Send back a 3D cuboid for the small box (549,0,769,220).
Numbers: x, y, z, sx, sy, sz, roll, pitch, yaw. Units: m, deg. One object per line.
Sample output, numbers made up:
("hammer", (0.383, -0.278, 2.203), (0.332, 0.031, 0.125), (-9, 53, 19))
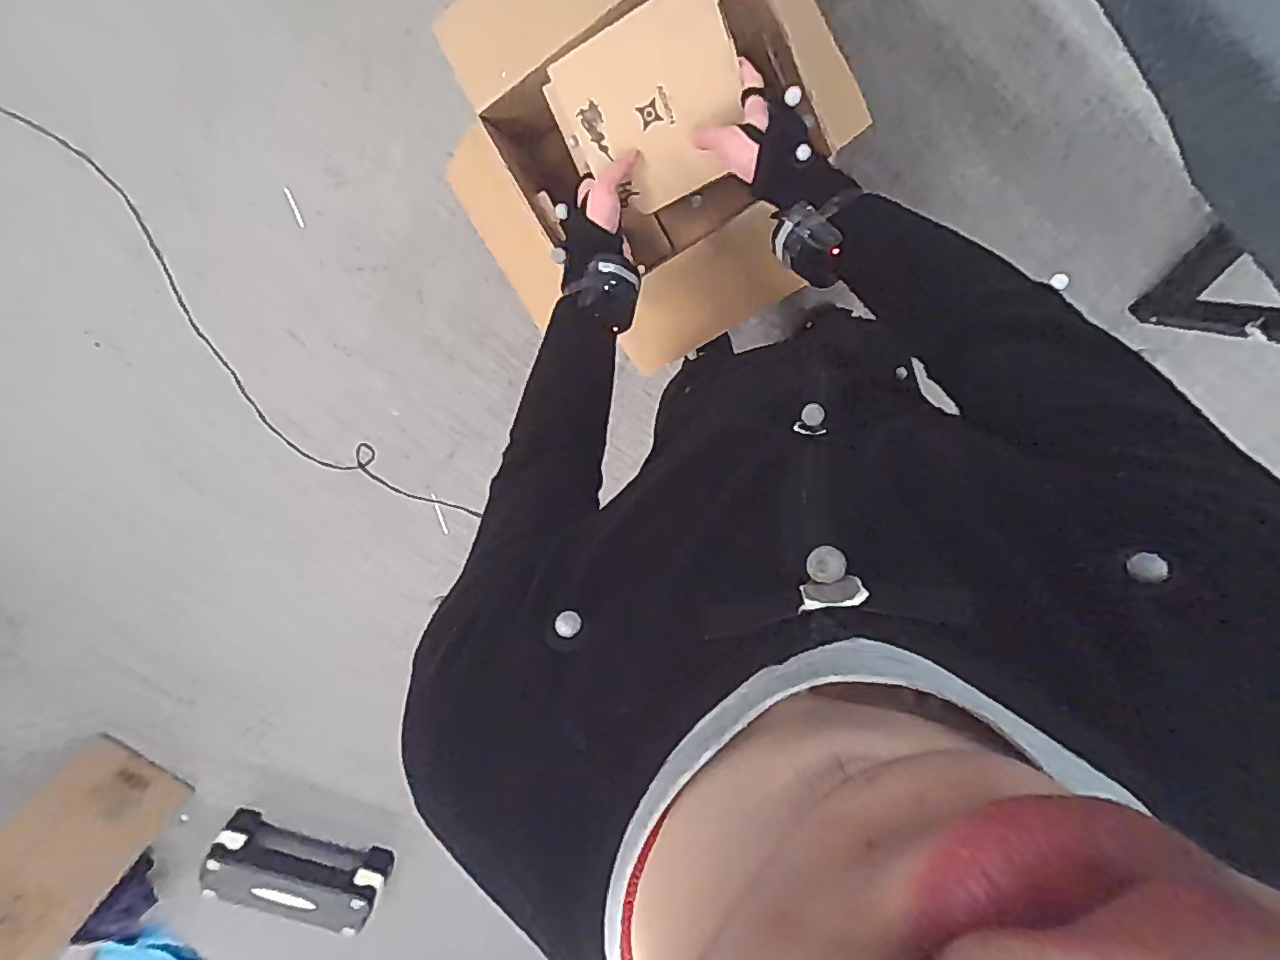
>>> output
("small box", (0.027, -0.414, 0.604), (0.179, 0.176, 0.168), (-19, 114, 16))
